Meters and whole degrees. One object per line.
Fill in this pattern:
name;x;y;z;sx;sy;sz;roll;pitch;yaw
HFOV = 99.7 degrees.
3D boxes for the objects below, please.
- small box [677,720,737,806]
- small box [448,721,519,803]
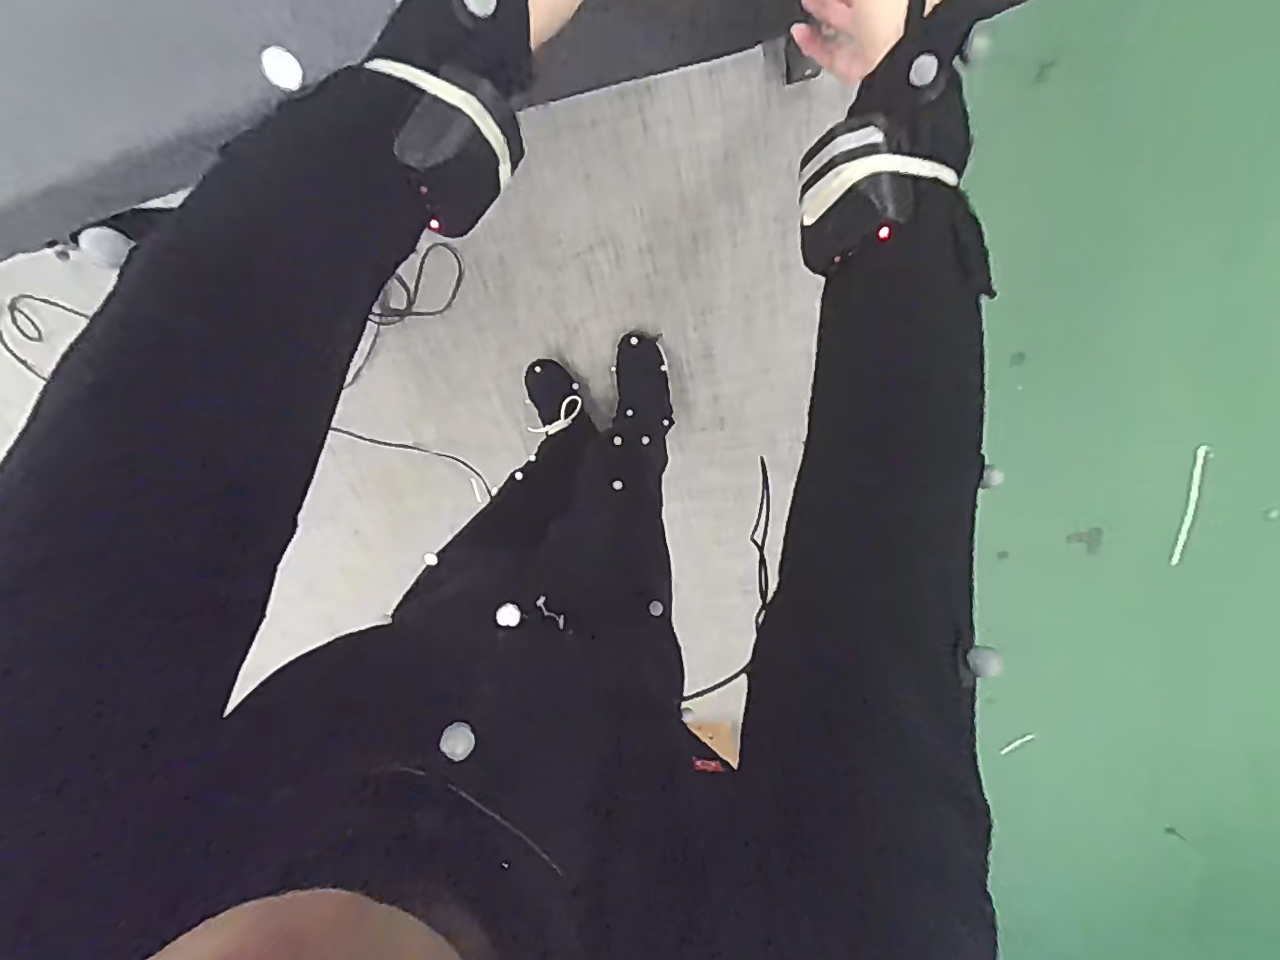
small box;0.208;0.868;1.664;0.168;0.176;0.179;-5;115;9
small box;-0.504;0.913;1.764;0.179;0.176;0.168;6;118;2
